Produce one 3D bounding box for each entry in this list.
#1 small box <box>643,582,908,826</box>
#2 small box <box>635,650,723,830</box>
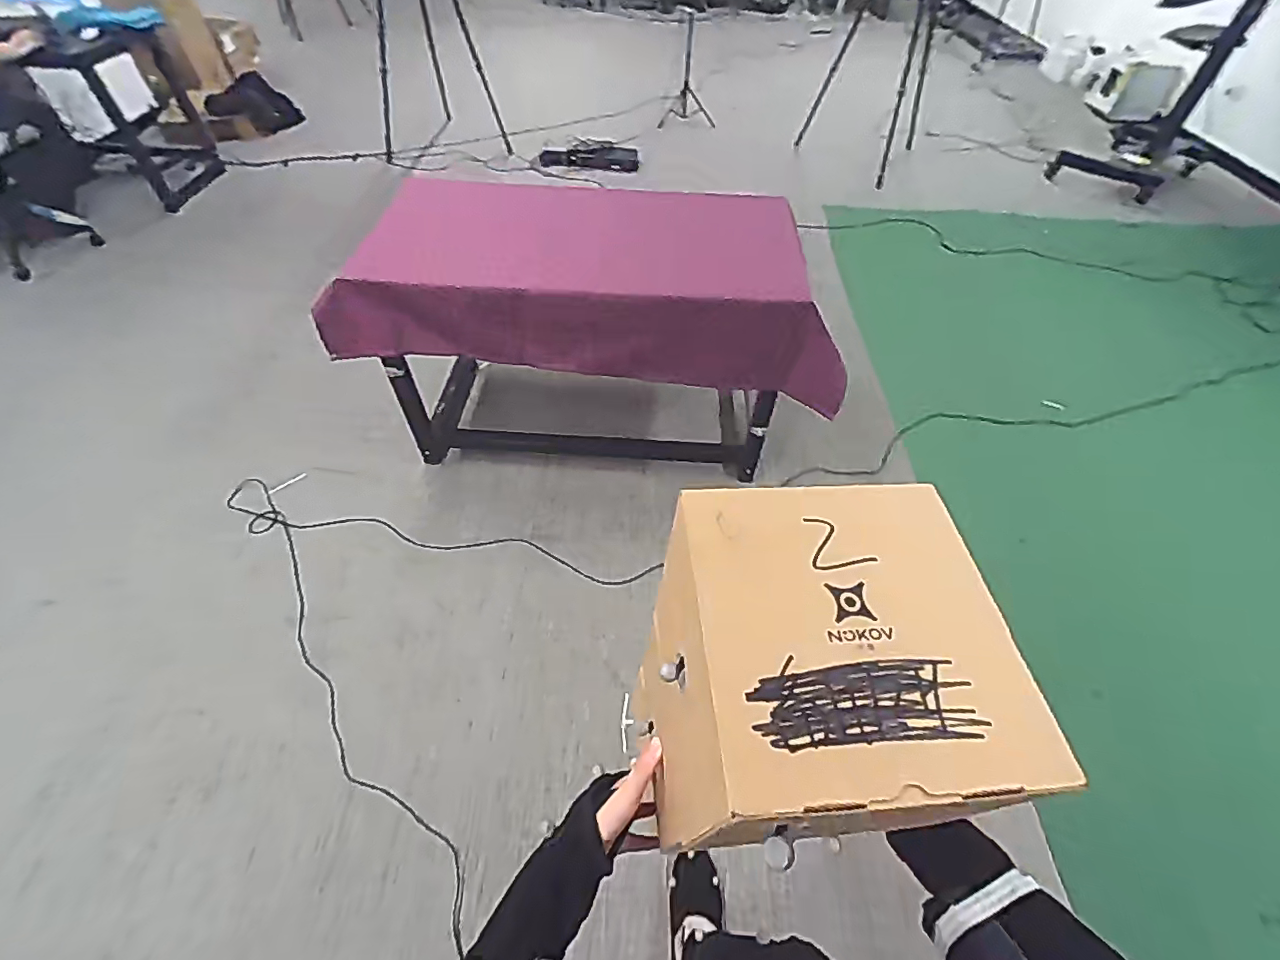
[{"bbox_3d":[0.101,0.209,0.498,0.179,0.176,0.168,-3,52,-6],"label":"small box"},{"bbox_3d":[0.094,0.298,0.636,0.179,0.176,0.168,-5,53,-8],"label":"small box"}]
